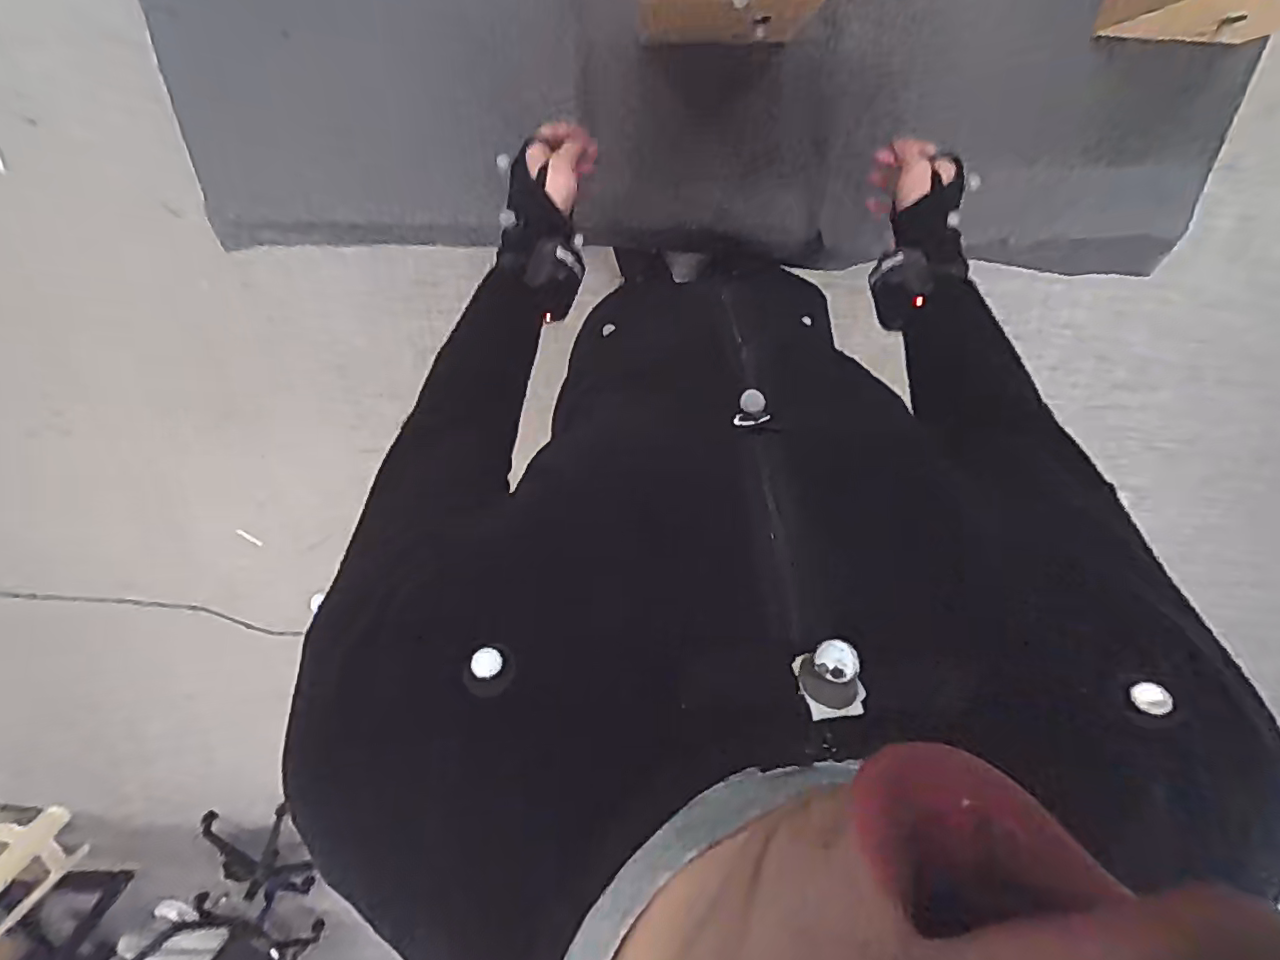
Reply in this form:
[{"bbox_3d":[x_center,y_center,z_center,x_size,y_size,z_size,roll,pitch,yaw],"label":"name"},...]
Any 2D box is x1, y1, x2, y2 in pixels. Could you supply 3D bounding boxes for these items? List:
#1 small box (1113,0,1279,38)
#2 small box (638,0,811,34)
[{"bbox_3d":[0.566,-0.505,0.460,0.168,0.176,0.179,3,118,-1],"label":"small box"},{"bbox_3d":[0.080,-0.513,0.467,0.168,0.176,0.179,-1,116,0],"label":"small box"}]
